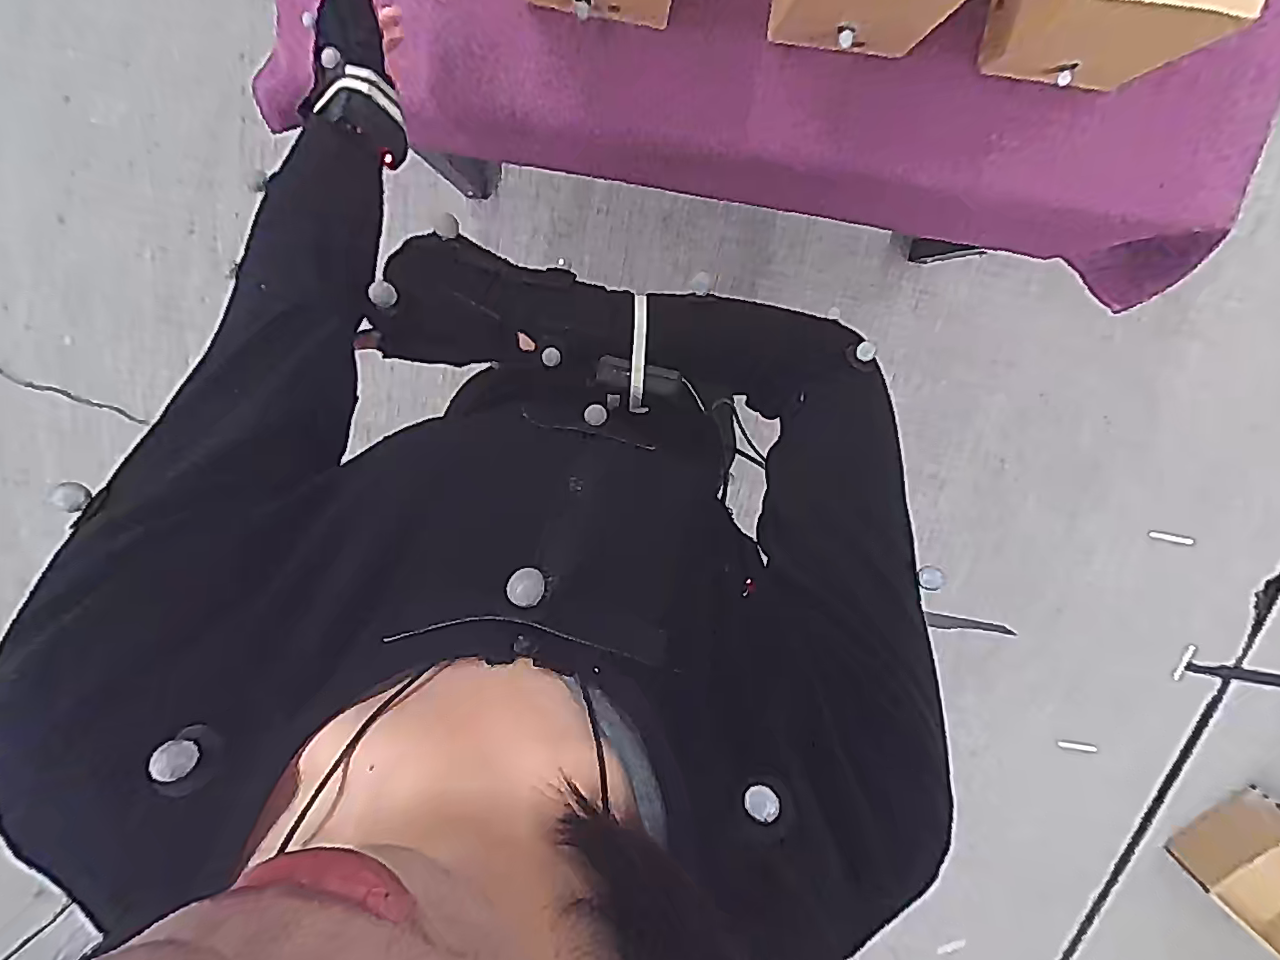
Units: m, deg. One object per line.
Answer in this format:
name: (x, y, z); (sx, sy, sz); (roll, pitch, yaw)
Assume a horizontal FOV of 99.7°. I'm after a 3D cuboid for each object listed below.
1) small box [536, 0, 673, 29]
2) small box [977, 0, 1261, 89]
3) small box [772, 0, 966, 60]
small box: (-0.034, -0.588, 0.518); (0.168, 0.176, 0.179); (6, 106, -4)
small box: (0.504, -0.542, 0.564); (0.179, 0.176, 0.168); (4, 106, -5)
small box: (0.243, -0.568, 0.540); (0.168, 0.176, 0.179); (4, 107, -4)
